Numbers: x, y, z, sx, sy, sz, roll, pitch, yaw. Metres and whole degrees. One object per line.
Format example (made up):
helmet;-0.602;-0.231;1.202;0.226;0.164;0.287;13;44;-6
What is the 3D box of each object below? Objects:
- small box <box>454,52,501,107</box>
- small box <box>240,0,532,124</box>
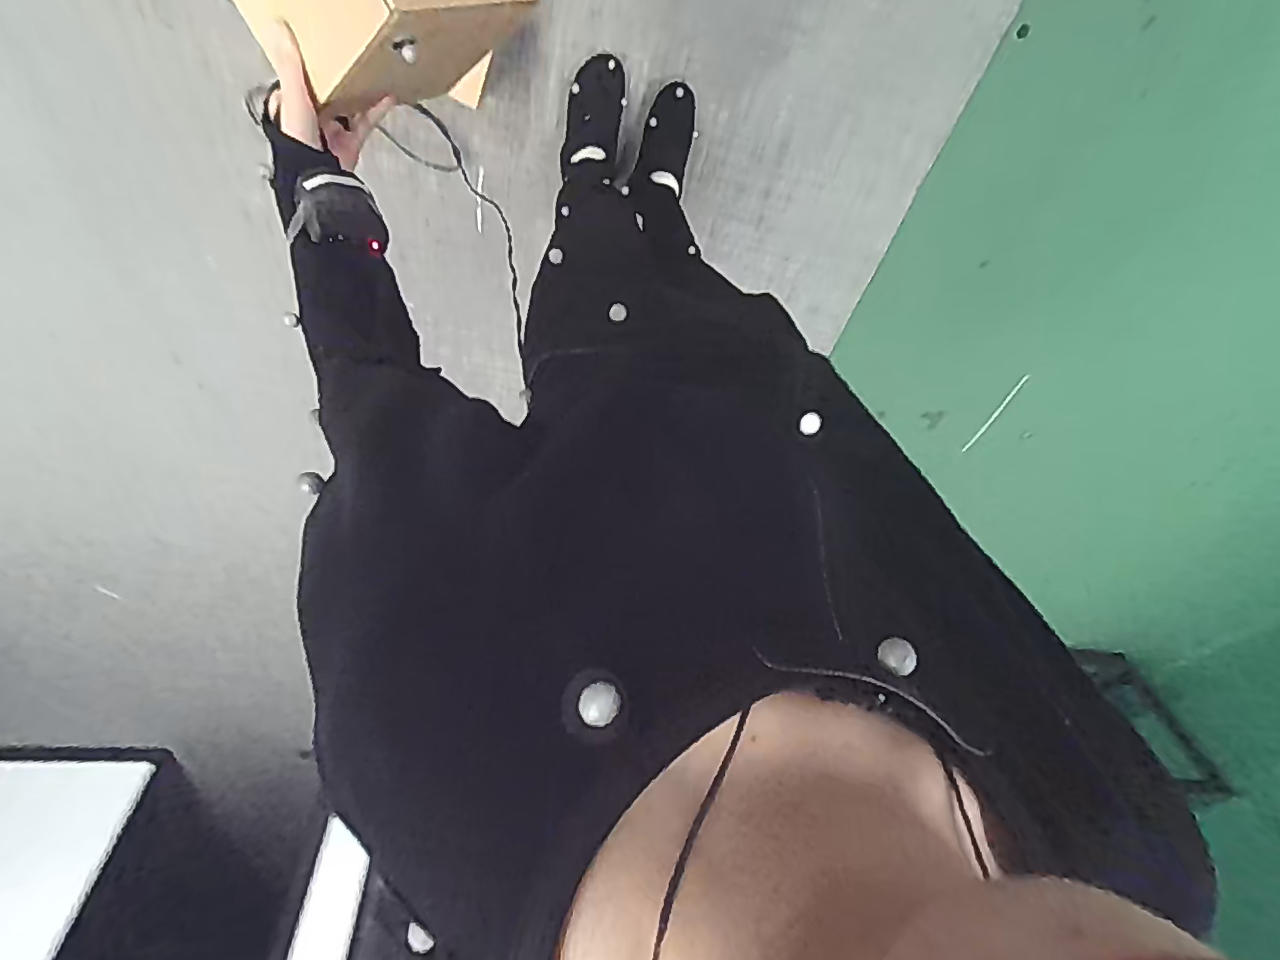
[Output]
small box;-0.330;-0.806;0.950;0.168;0.176;0.179;20;128;-22
small box;-0.225;-0.440;0.461;0.179;0.176;0.168;-3;123;41
